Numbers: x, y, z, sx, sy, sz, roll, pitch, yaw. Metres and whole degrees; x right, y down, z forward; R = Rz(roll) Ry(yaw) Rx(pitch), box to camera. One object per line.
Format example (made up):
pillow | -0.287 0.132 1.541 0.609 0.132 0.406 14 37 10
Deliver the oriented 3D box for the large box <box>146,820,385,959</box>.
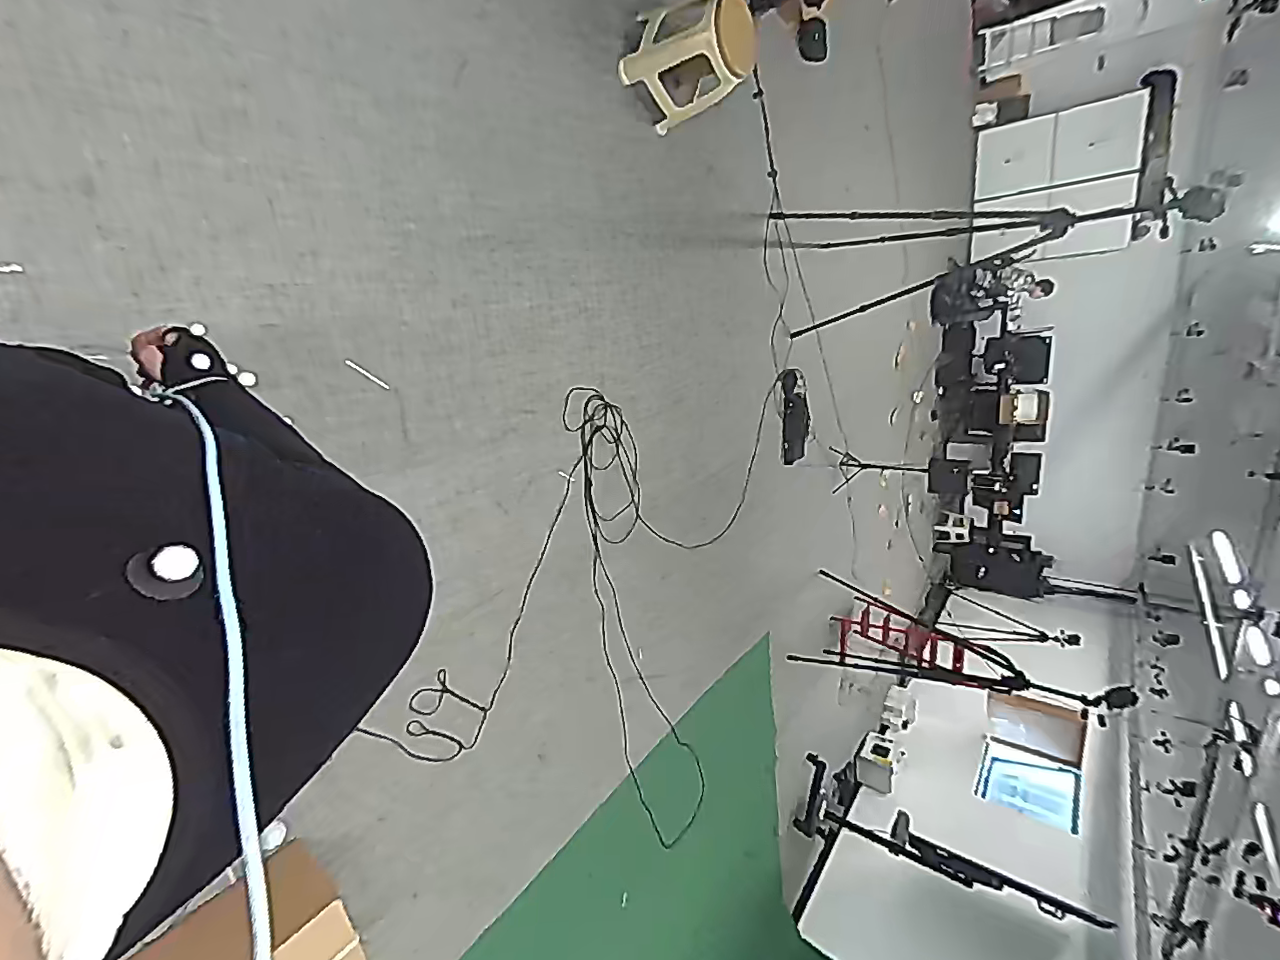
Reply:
large box | -0.973 1.231 1.430 0.408 0.320 0.320 -27 115 -44
